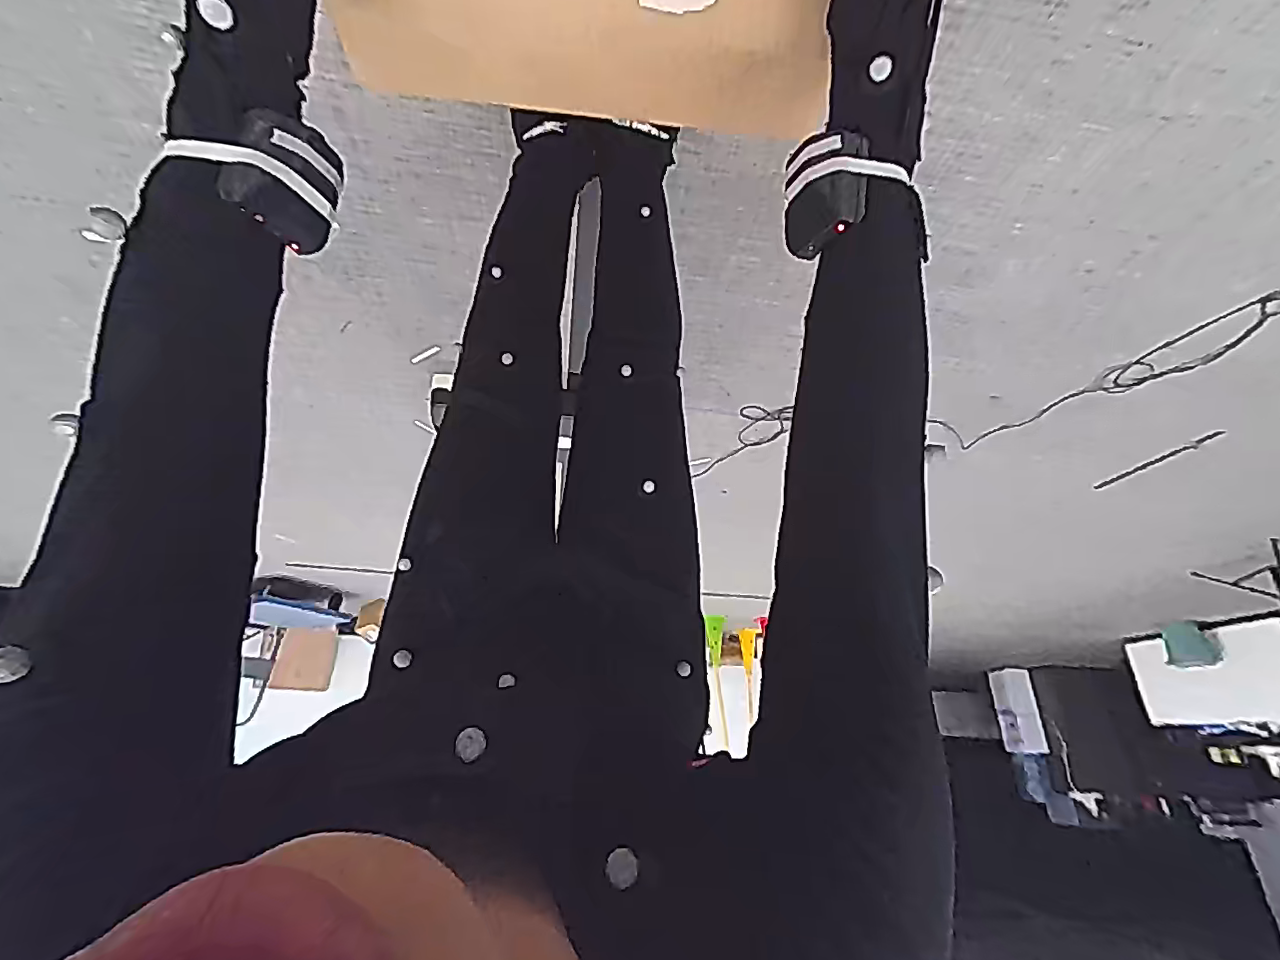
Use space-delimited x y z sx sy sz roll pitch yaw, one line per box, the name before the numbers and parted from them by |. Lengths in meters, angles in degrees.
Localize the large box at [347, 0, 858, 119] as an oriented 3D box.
large box | -0.022 -0.537 0.411 0.408 0.320 0.320 4 155 -2
